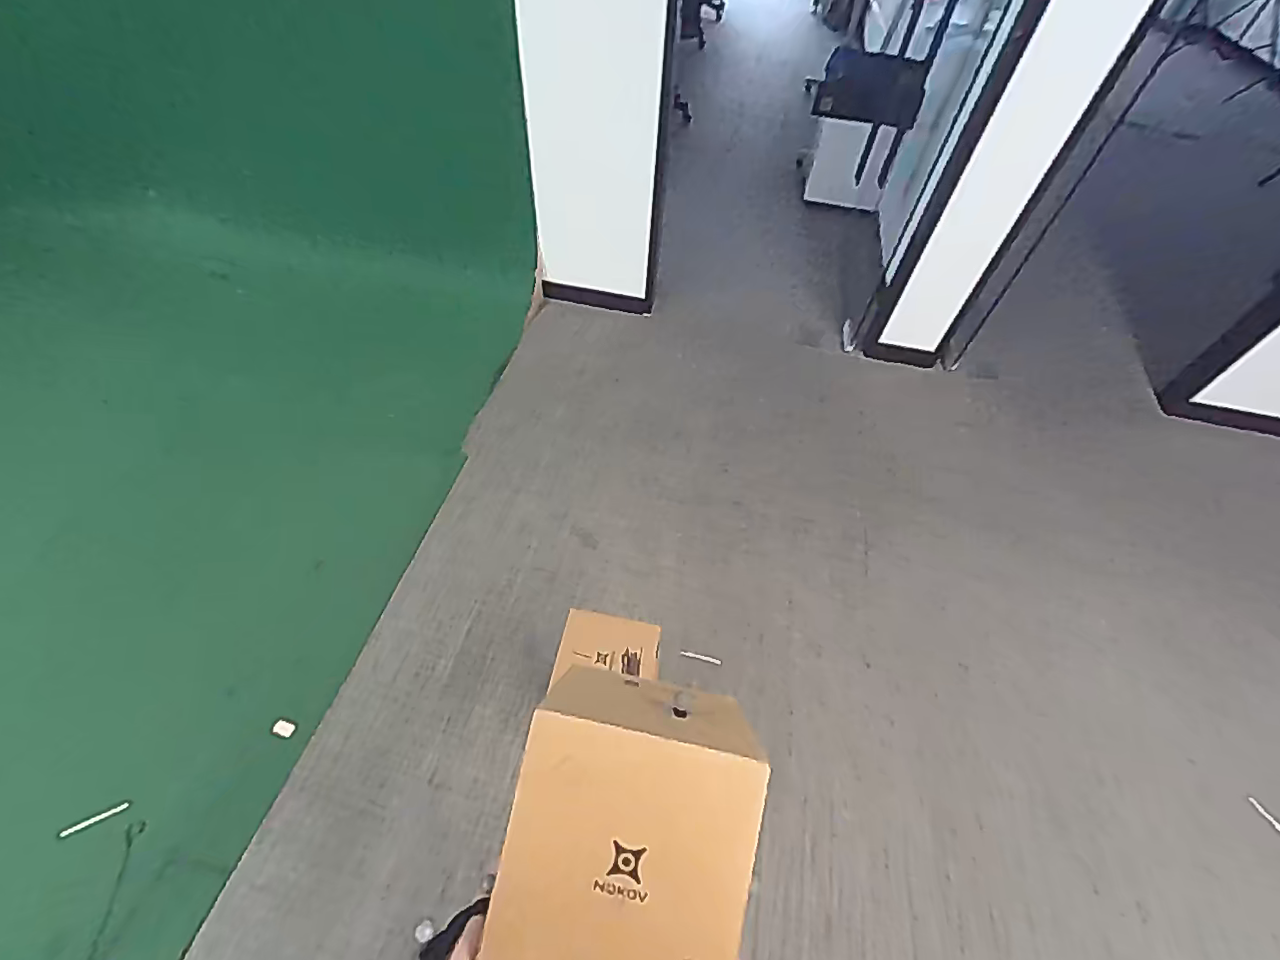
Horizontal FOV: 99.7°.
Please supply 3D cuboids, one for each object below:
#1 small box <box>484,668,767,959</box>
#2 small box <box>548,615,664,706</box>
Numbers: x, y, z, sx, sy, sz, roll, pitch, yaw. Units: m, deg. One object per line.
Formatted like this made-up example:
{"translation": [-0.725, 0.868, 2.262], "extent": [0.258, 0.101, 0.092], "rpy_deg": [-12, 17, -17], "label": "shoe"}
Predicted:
{"translation": [-0.006, 0.269, 0.445], "extent": [0.168, 0.176, 0.179], "rpy_deg": [11, 83, 4], "label": "small box"}
{"translation": [-0.060, 0.379, 1.018], "extent": [0.179, 0.176, 0.168], "rpy_deg": [10, 53, 5], "label": "small box"}
